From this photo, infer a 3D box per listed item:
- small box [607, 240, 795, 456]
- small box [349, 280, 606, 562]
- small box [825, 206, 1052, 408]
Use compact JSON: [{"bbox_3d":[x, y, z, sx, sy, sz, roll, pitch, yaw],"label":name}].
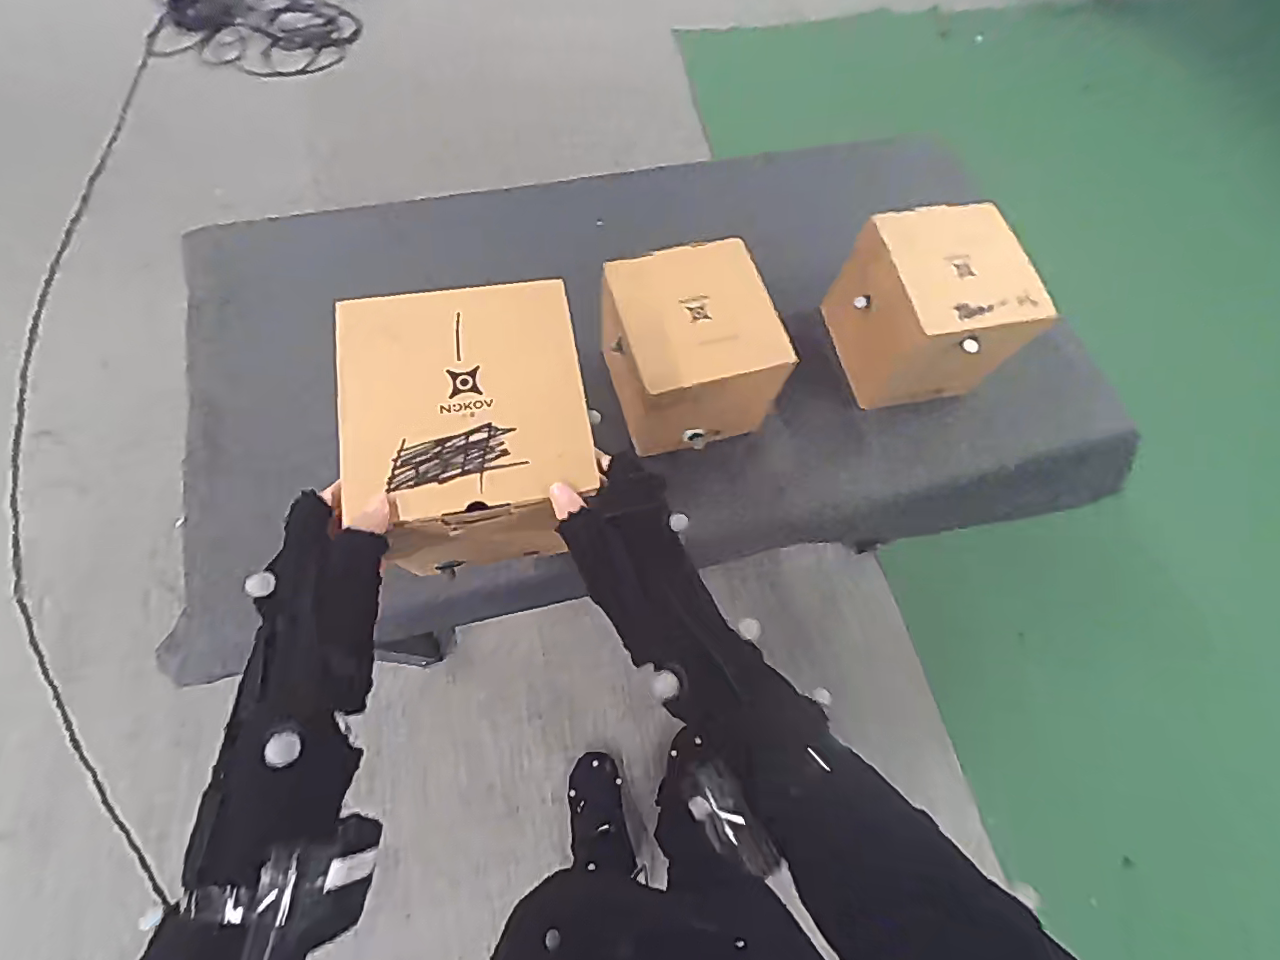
[{"bbox_3d":[0.059,-0.153,0.659,0.168,0.176,0.179,-15,71,-8],"label":"small box"},{"bbox_3d":[-0.120,-0.035,0.447,0.168,0.176,0.179,-7,72,-8],"label":"small box"},{"bbox_3d":[0.364,-0.218,0.702,0.168,0.176,0.179,-10,69,-6],"label":"small box"}]
